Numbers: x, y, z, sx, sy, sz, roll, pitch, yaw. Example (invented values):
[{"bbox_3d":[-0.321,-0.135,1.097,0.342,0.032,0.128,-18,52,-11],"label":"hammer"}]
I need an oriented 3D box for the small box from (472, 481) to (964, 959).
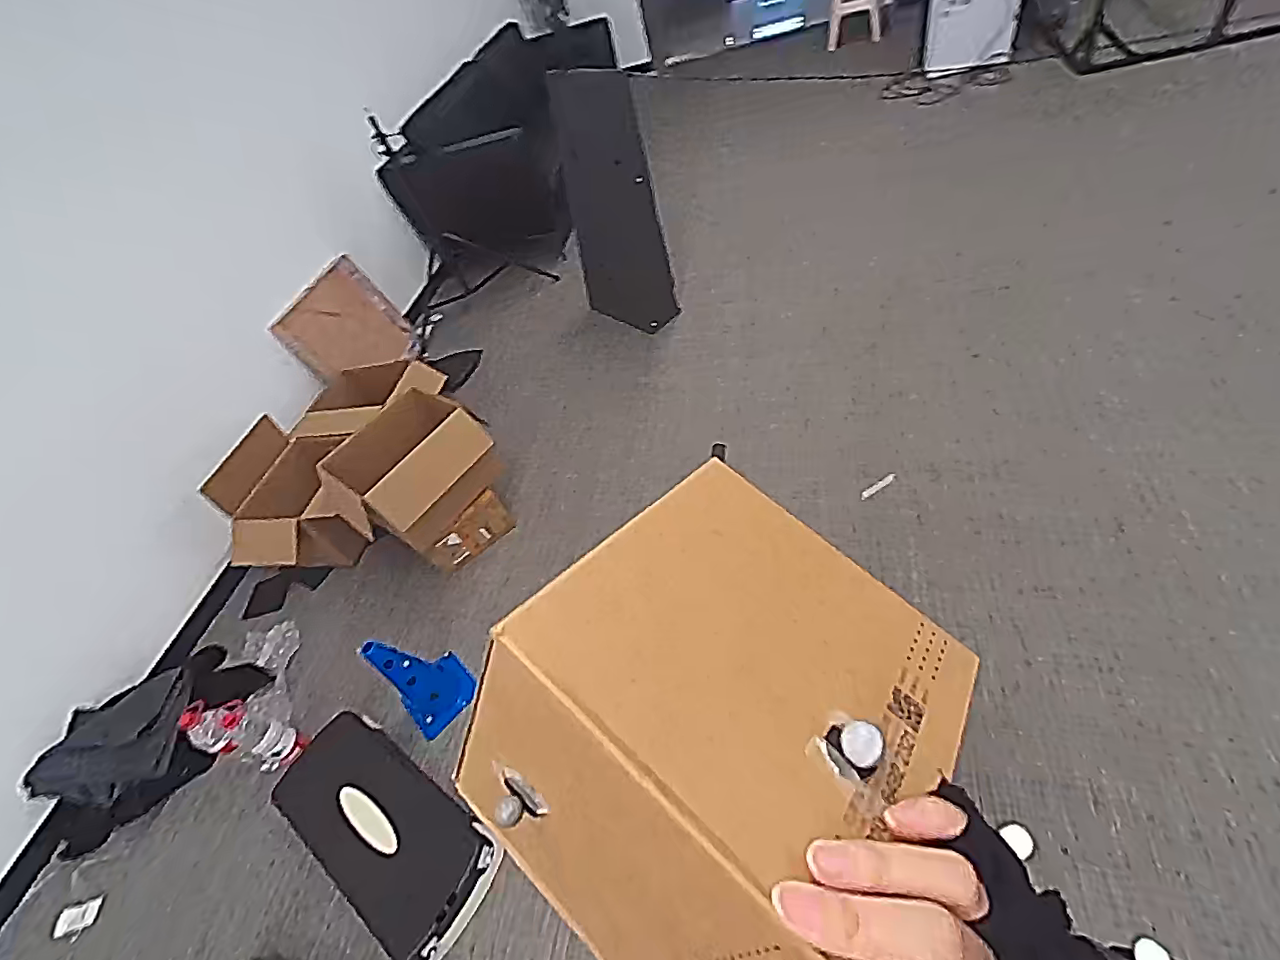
[{"bbox_3d":[0.034,0.140,0.299,0.176,0.179,0.168,39,43,16],"label":"small box"}]
